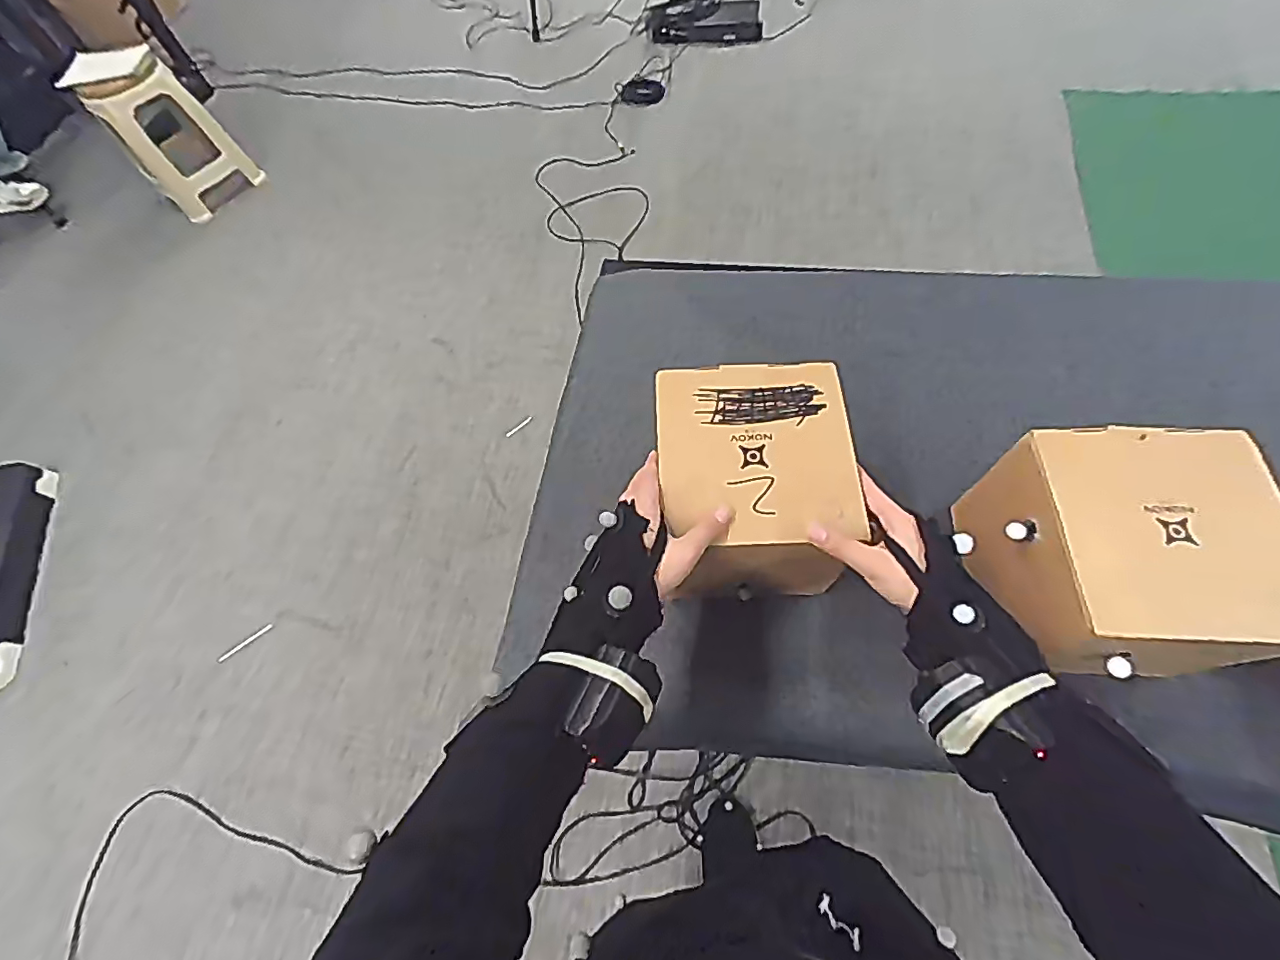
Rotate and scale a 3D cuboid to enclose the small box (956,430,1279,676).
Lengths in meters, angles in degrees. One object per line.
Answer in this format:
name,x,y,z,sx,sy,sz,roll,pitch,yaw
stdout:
small box,0.413,0.072,0.482,0.168,0.176,0.179,1,62,6
